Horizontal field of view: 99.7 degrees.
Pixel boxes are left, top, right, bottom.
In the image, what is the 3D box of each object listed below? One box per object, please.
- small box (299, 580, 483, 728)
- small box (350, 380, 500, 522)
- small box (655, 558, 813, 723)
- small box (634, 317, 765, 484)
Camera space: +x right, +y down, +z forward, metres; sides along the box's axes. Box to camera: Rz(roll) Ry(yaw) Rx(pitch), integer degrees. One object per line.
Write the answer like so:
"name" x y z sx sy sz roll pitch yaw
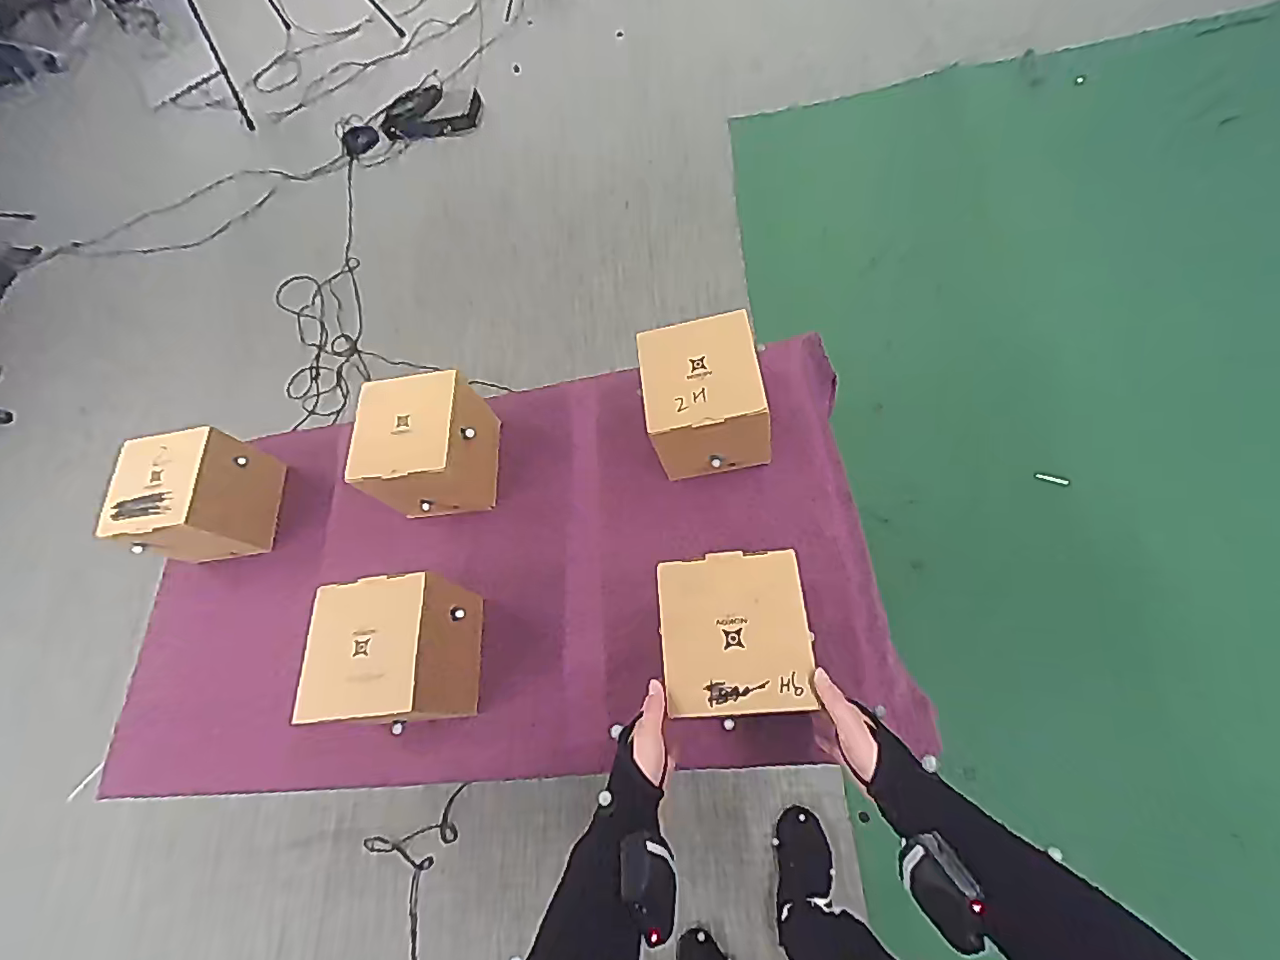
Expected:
"small box" -0.340 0.257 0.778 0.168 0.176 0.179 -9 64 10
"small box" -0.349 -0.042 0.911 0.168 0.176 0.179 -7 68 10
"small box" 0.117 0.210 0.688 0.168 0.176 0.179 -8 67 11
"small box" 0.095 -0.114 0.832 0.168 0.176 0.179 -11 66 12
